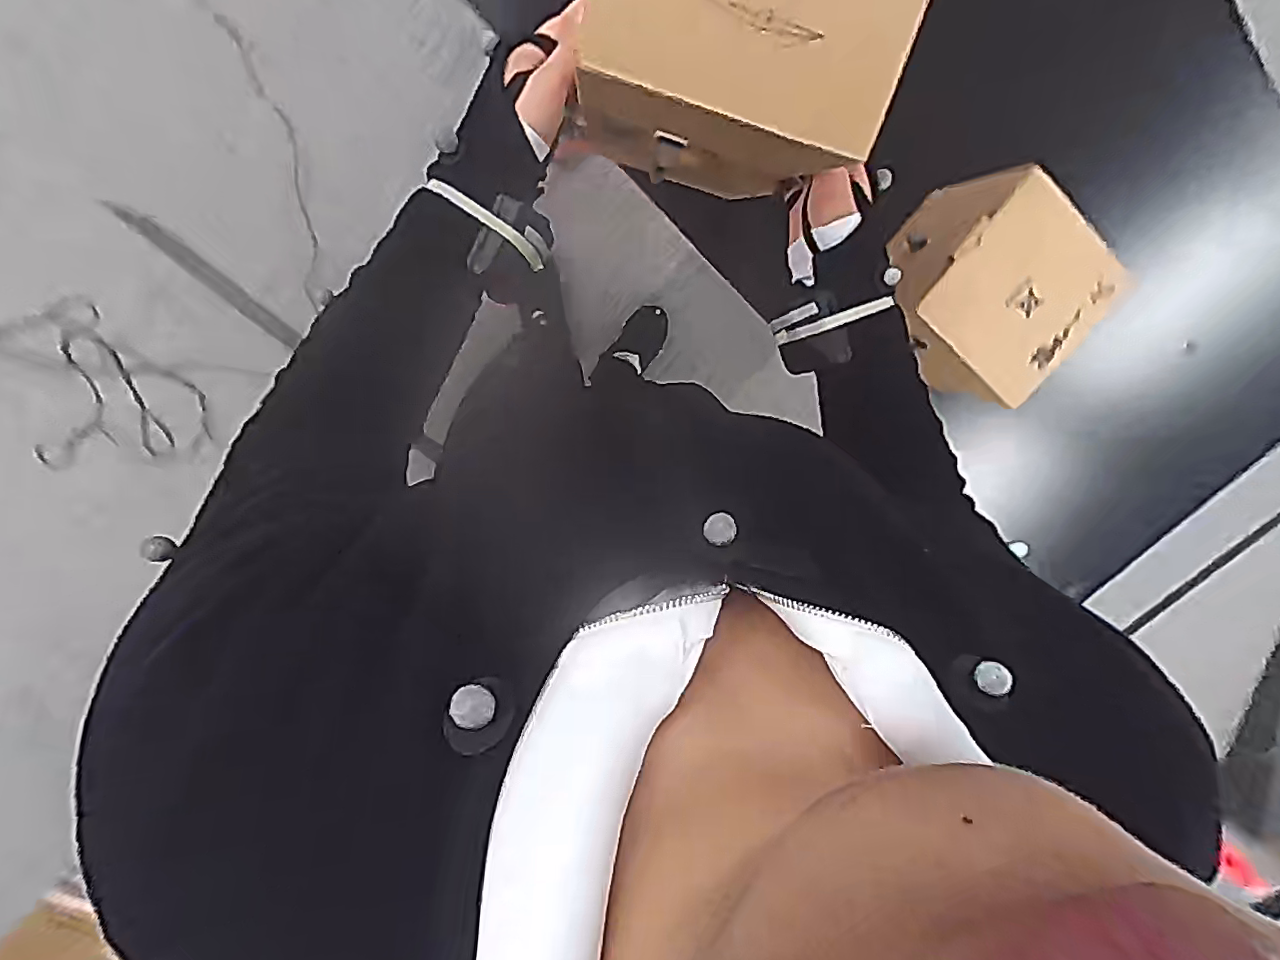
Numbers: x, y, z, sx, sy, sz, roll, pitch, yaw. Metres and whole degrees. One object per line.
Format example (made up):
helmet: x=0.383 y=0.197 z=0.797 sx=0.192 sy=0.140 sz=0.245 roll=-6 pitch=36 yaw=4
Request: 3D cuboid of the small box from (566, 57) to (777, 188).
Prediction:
small box: x=0.040 y=-0.367 z=0.470 sx=0.179 sy=0.176 sz=0.168 roll=12 pitch=114 yaw=-11

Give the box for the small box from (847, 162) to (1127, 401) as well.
small box: x=0.379 y=-0.218 z=0.625 sx=0.179 sy=0.176 sz=0.168 roll=36 pitch=103 yaw=-15

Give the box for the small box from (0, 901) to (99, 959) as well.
small box: x=-1.391 y=1.105 z=1.215 sx=0.168 sy=0.176 sz=0.179 roll=38 pitch=101 yaw=-15

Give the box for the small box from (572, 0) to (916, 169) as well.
small box: x=0.056 y=-0.306 z=0.320 sx=0.168 sy=0.176 sz=0.179 roll=10 pitch=116 yaw=-10
